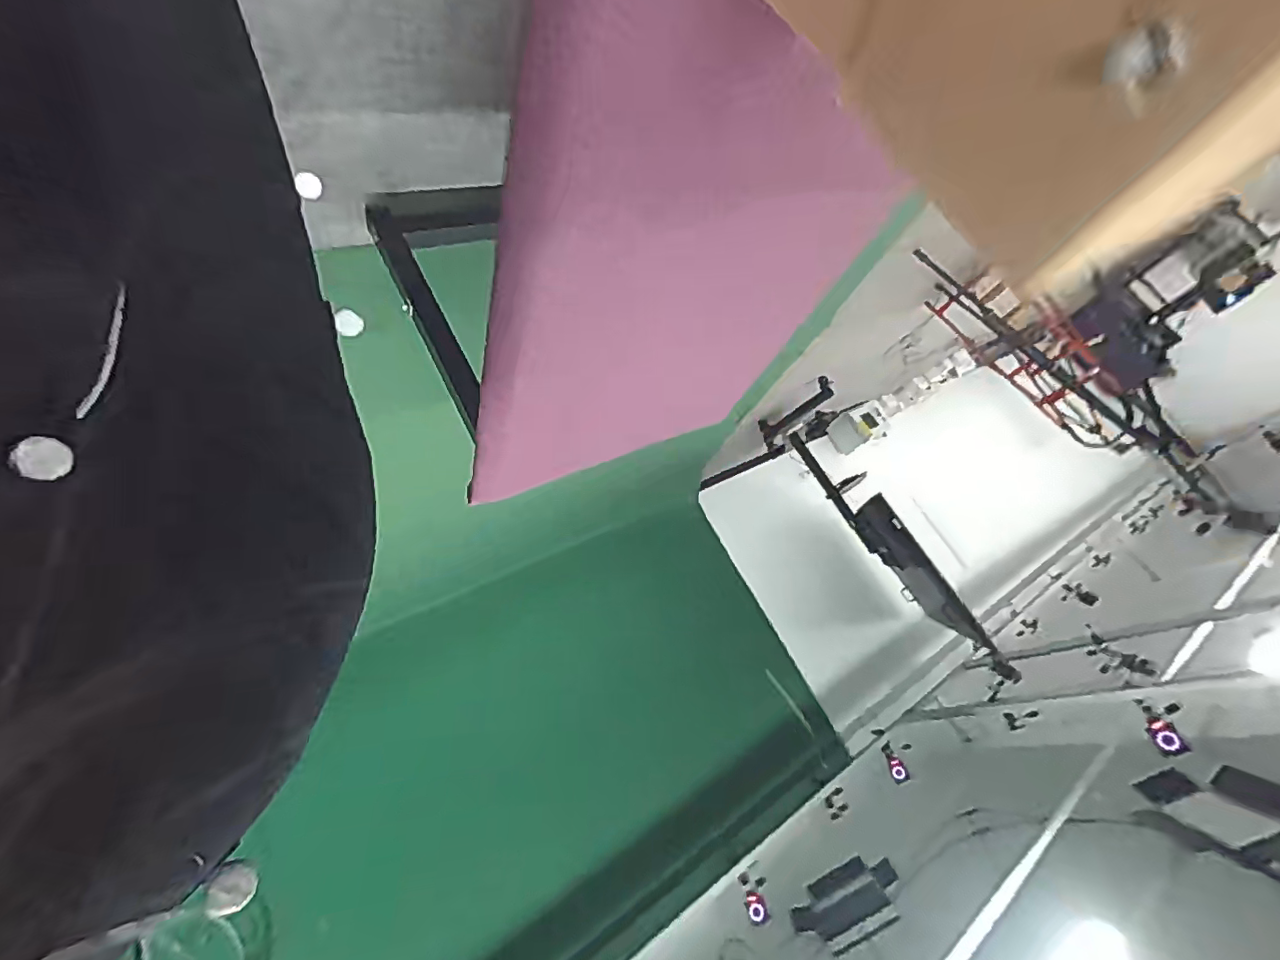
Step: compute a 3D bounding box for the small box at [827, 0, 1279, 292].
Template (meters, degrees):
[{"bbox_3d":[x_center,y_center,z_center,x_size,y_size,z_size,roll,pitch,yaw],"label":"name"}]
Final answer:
[{"bbox_3d":[0.225,-0.235,0.270,0.168,0.176,0.179,-26,164,-20],"label":"small box"}]
